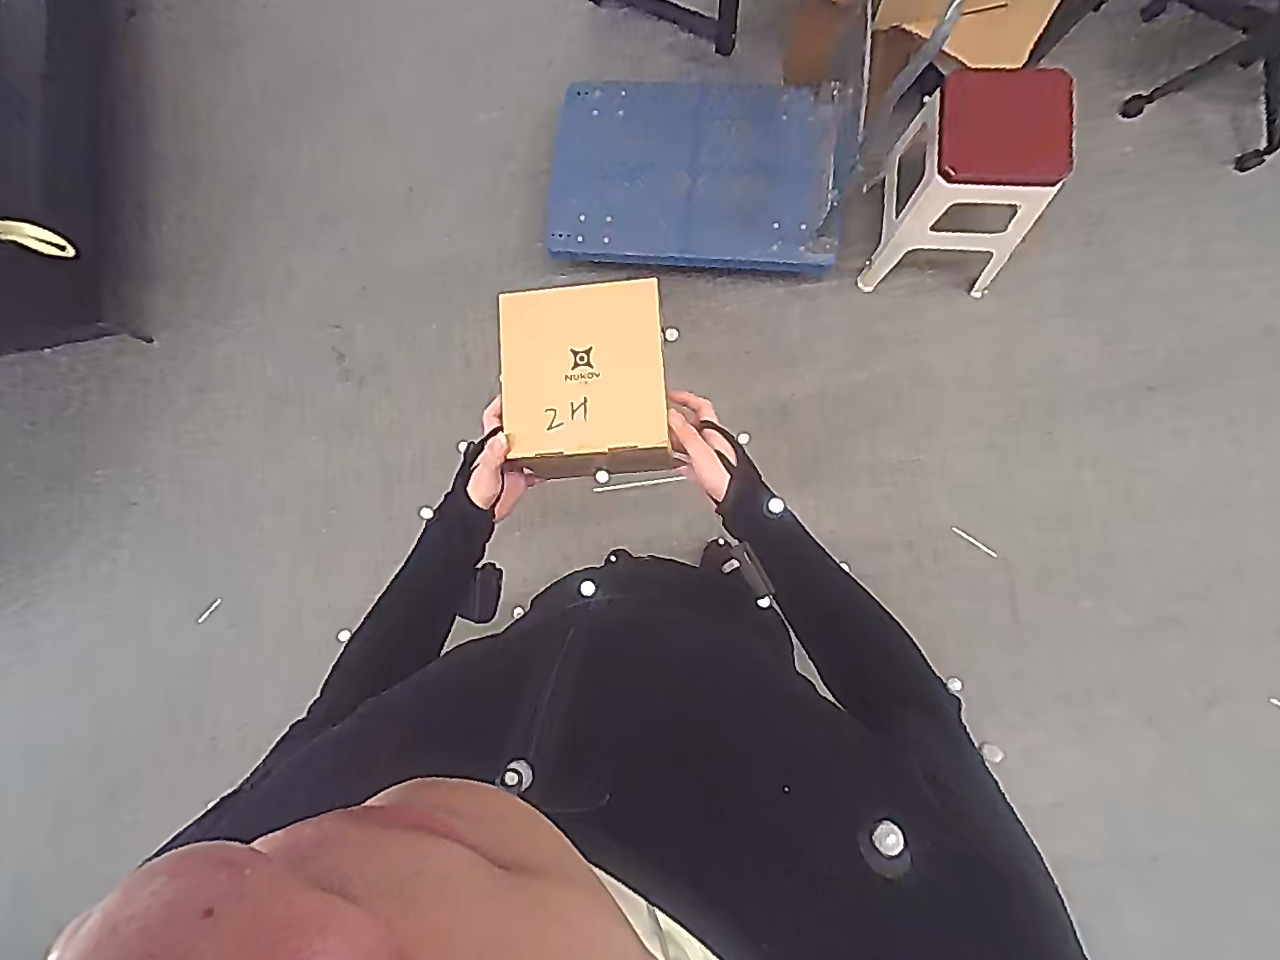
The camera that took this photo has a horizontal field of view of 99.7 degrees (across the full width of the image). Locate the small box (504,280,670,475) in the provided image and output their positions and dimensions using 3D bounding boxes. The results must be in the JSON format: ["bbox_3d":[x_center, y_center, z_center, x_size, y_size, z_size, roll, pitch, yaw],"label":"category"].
[{"bbox_3d":[-0.052,-0.107,0.630,0.168,0.176,0.179,-4,83,4],"label":"small box"}]
